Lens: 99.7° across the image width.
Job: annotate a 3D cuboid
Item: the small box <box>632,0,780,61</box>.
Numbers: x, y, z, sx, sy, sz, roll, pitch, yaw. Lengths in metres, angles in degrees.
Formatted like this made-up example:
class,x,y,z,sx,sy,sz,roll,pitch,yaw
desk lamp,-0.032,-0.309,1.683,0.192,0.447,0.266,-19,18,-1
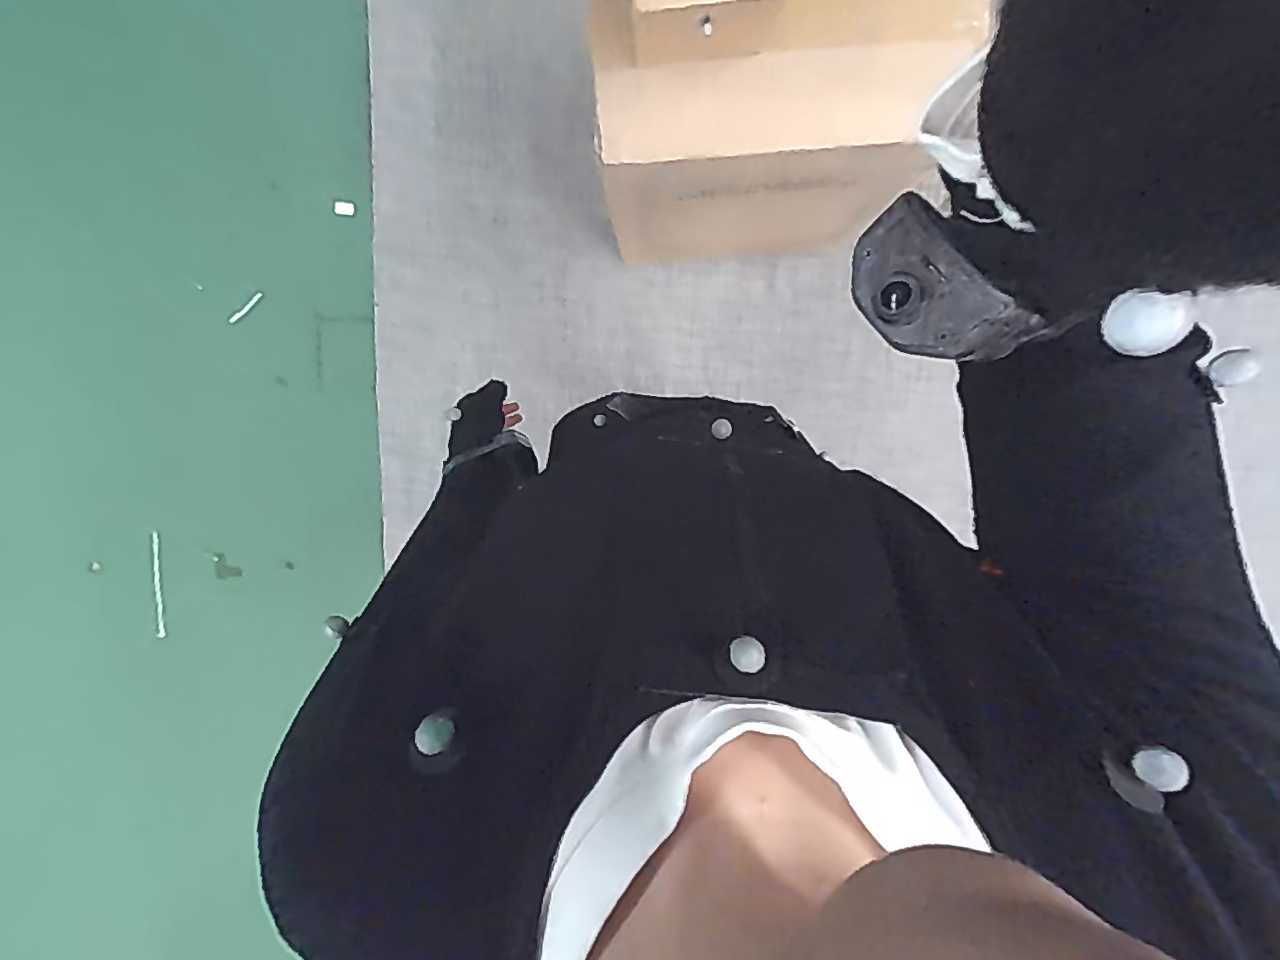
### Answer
class,x,y,z,sx,sy,sz,roll,pitch,yaw
small box,0.073,-0.621,0.631,0.179,0.176,0.168,-5,111,2
